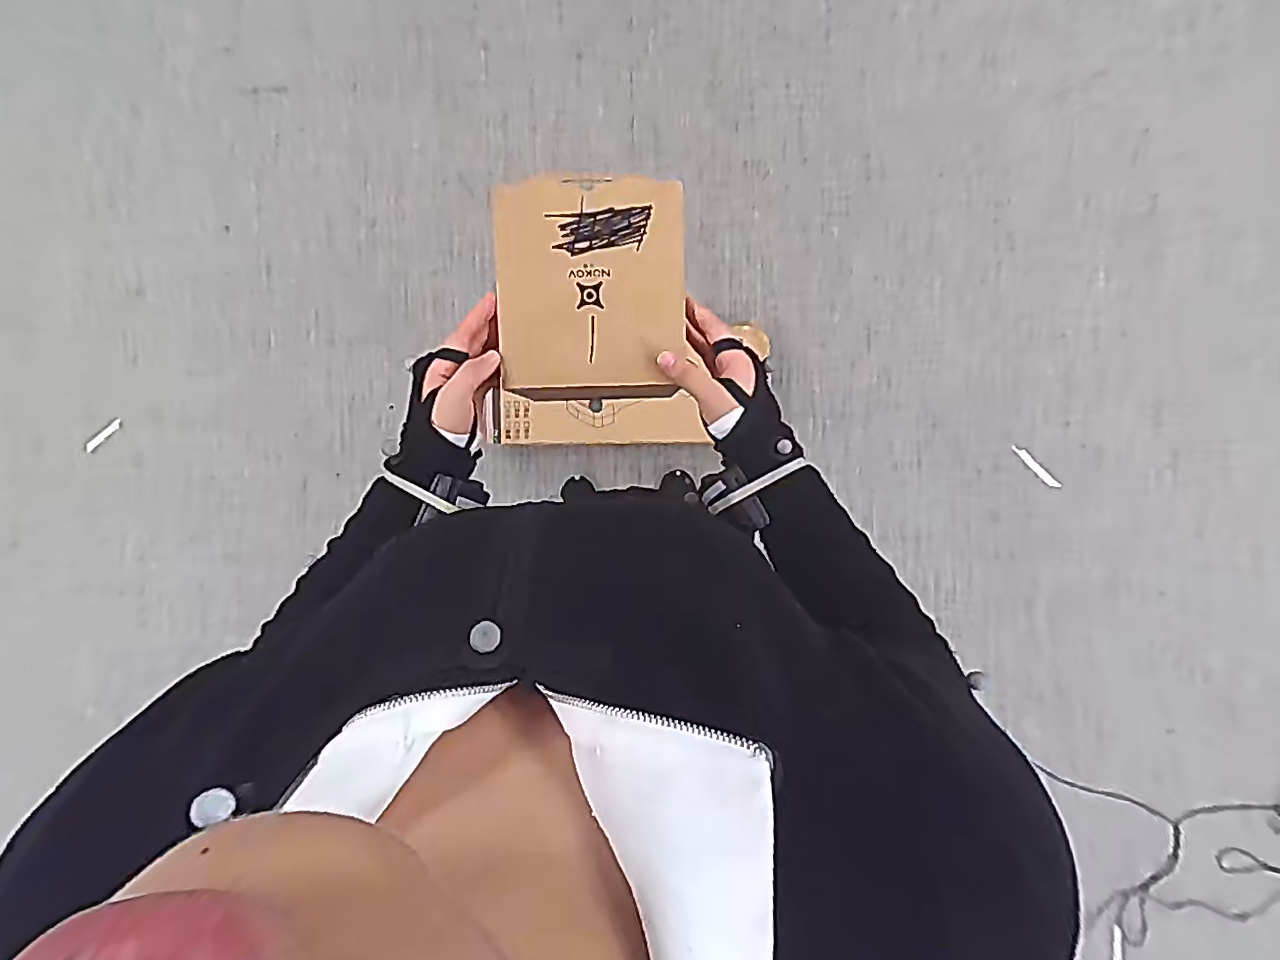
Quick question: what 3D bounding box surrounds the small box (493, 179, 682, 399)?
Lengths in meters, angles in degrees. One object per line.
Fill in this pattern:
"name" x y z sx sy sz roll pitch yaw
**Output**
"small box" -0.047 -0.178 0.552 0.168 0.176 0.179 -2 95 -1
